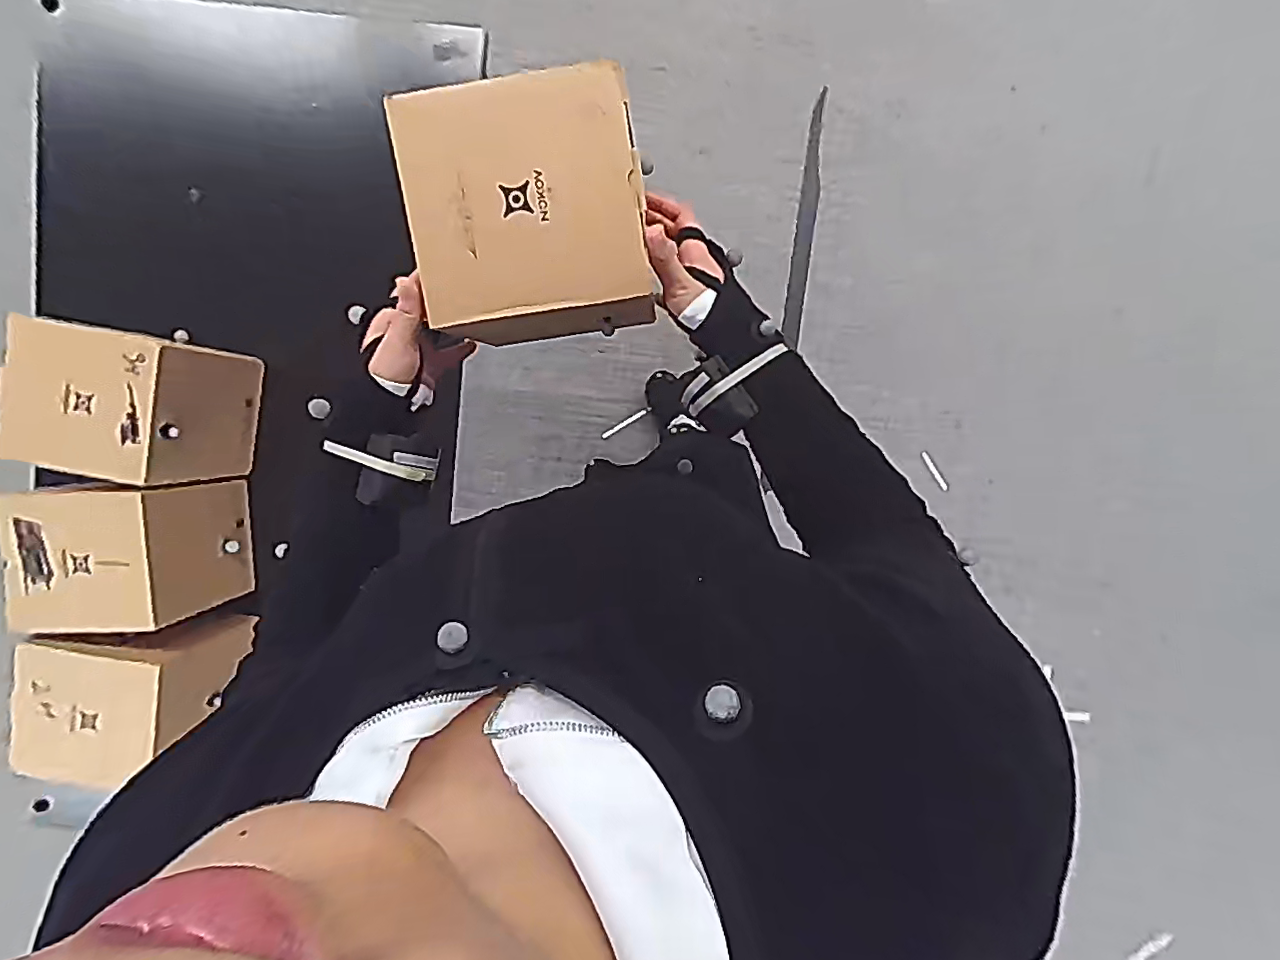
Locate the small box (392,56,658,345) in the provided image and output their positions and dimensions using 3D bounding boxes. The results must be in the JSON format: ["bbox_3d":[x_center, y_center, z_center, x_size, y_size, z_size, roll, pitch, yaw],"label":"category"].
[{"bbox_3d":[-0.080,-0.219,0.475,0.179,0.176,0.168,-8,97,5],"label":"small box"}]

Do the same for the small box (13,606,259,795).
[{"bbox_3d":[-0.651,0.279,0.720,0.179,0.176,0.168,9,94,1],"label":"small box"}]
